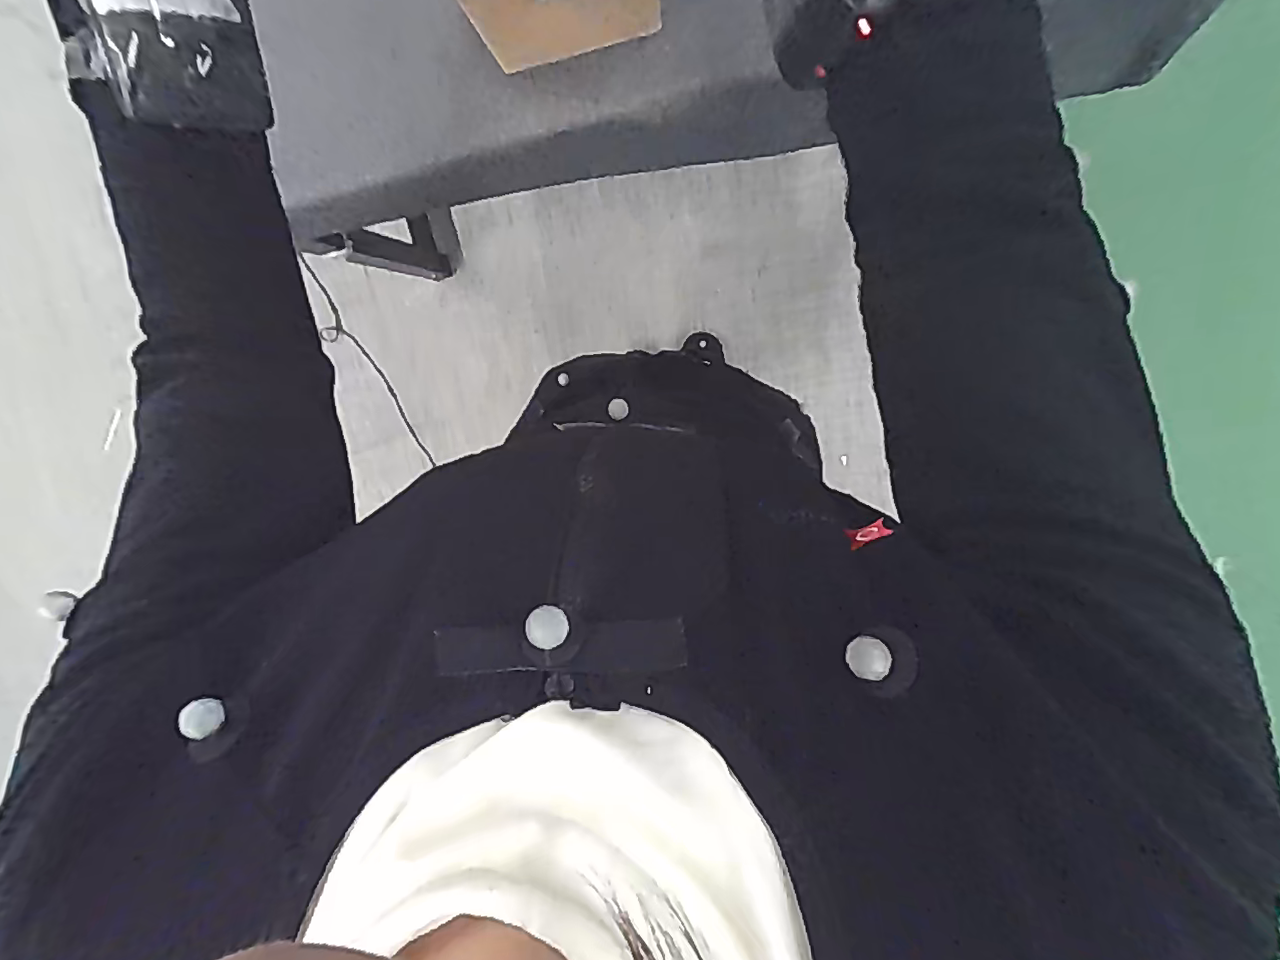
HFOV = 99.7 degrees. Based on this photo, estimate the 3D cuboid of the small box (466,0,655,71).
[{"bbox_3d":[-0.088,-0.527,0.505,0.179,0.176,0.168,-10,104,7],"label":"small box"}]
